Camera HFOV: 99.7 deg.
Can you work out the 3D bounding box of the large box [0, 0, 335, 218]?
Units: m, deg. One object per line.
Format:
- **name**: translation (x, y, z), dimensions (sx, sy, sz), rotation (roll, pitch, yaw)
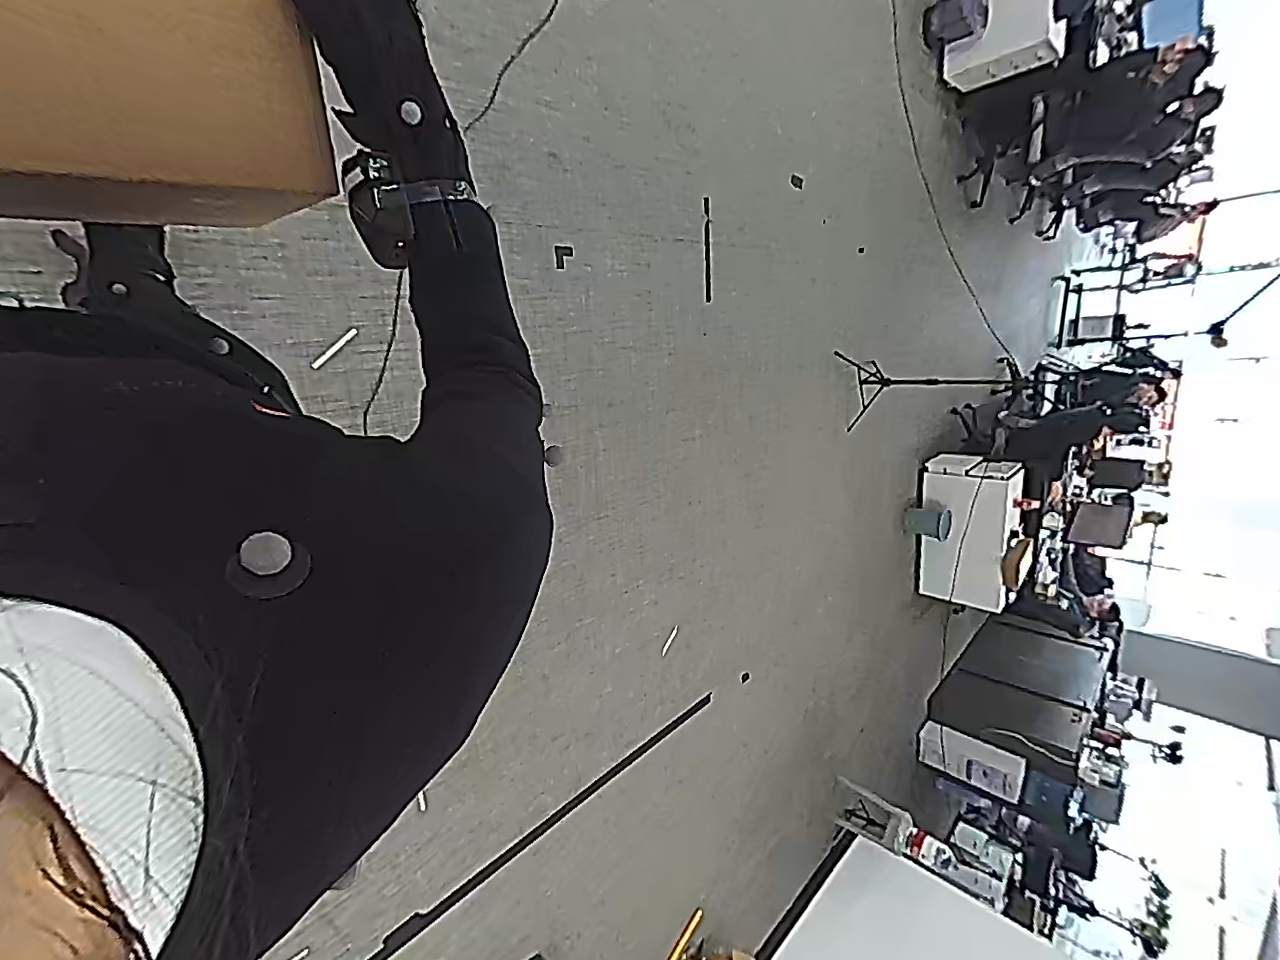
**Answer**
- **large box**: translation (-0.473, -0.340, 0.319), dimensions (0.408, 0.320, 0.320), rotation (-20, 119, -39)
